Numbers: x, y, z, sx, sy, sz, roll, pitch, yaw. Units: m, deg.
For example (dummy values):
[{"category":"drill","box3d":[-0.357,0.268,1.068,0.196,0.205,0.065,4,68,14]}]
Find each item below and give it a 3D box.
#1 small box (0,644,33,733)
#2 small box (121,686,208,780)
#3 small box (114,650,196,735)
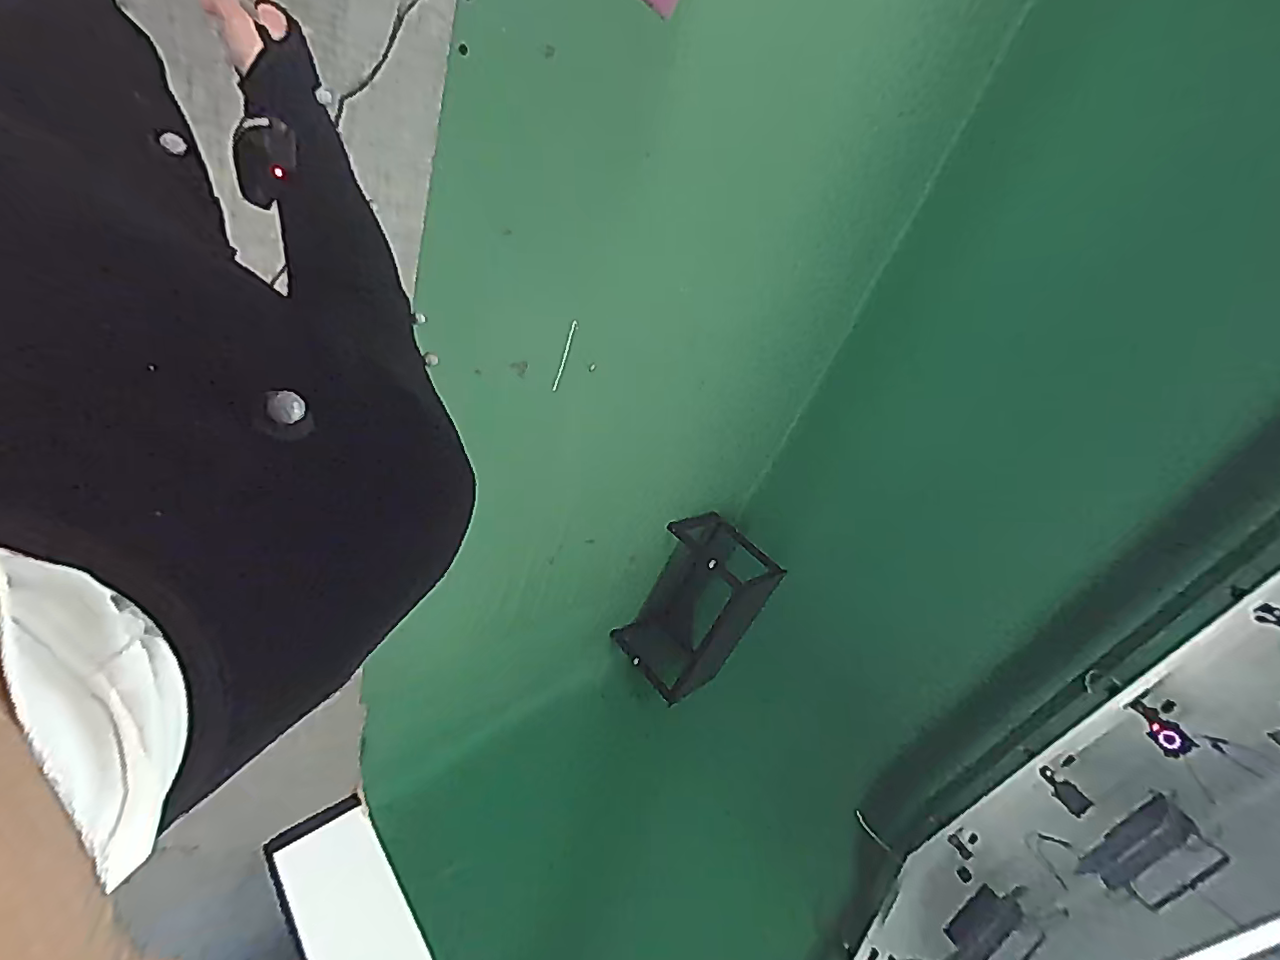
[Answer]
[{"category":"small box","box3d":[-1.752,0.565,1.422,0.179,0.176,0.168,-12,134,-47]},{"category":"small box","box3d":[-1.488,0.783,1.688,0.179,0.176,0.168,-4,129,-51]},{"category":"small box","box3d":[-1.596,0.691,1.774,0.179,0.176,0.168,-3,128,-51]}]
